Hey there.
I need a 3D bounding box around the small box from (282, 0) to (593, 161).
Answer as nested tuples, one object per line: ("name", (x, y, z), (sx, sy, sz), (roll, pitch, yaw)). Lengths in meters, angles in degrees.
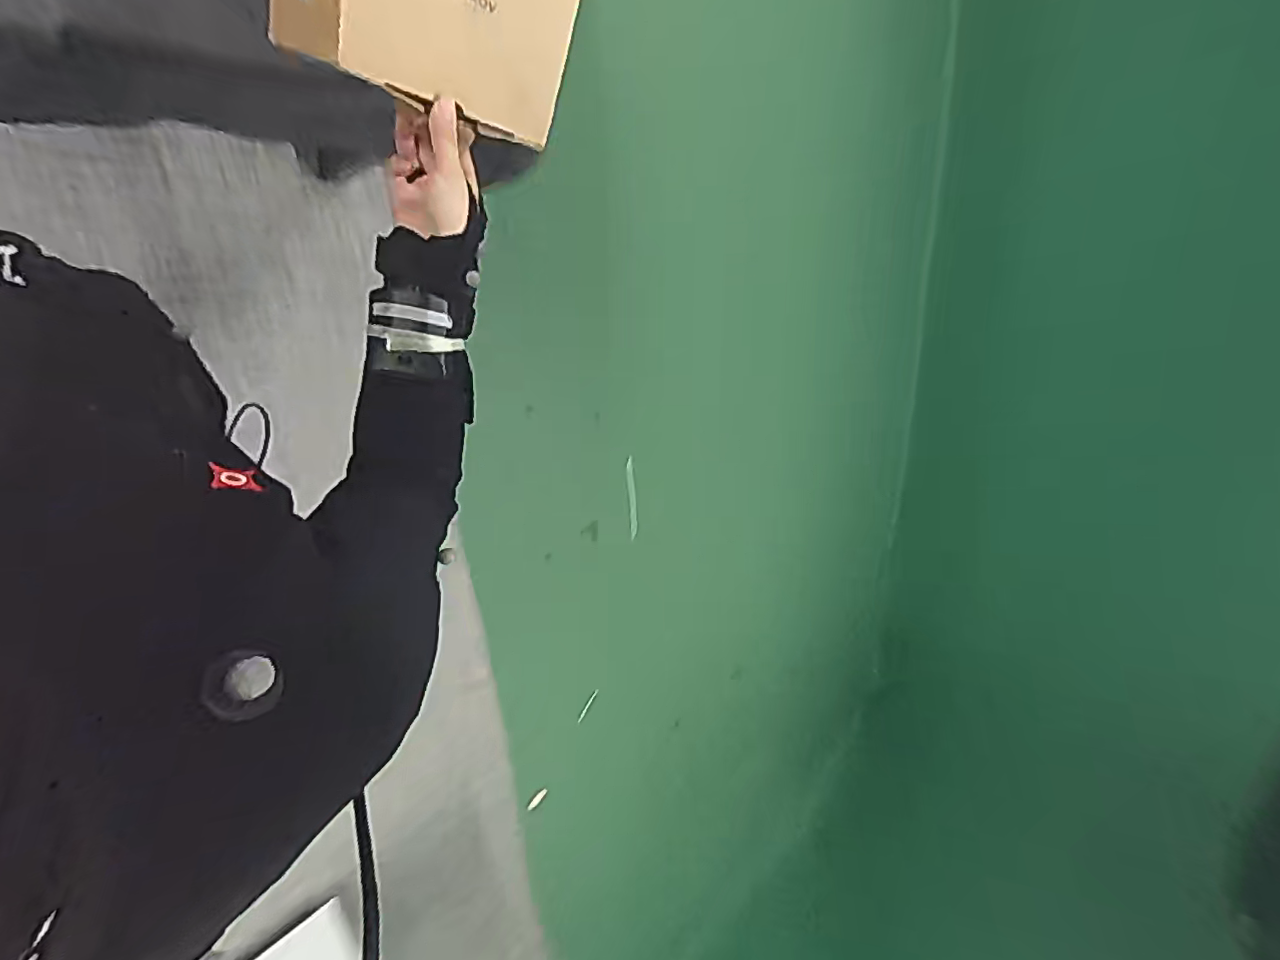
("small box", (-0.155, -0.382, 0.413), (0.168, 0.176, 0.179), (-7, 128, -46))
